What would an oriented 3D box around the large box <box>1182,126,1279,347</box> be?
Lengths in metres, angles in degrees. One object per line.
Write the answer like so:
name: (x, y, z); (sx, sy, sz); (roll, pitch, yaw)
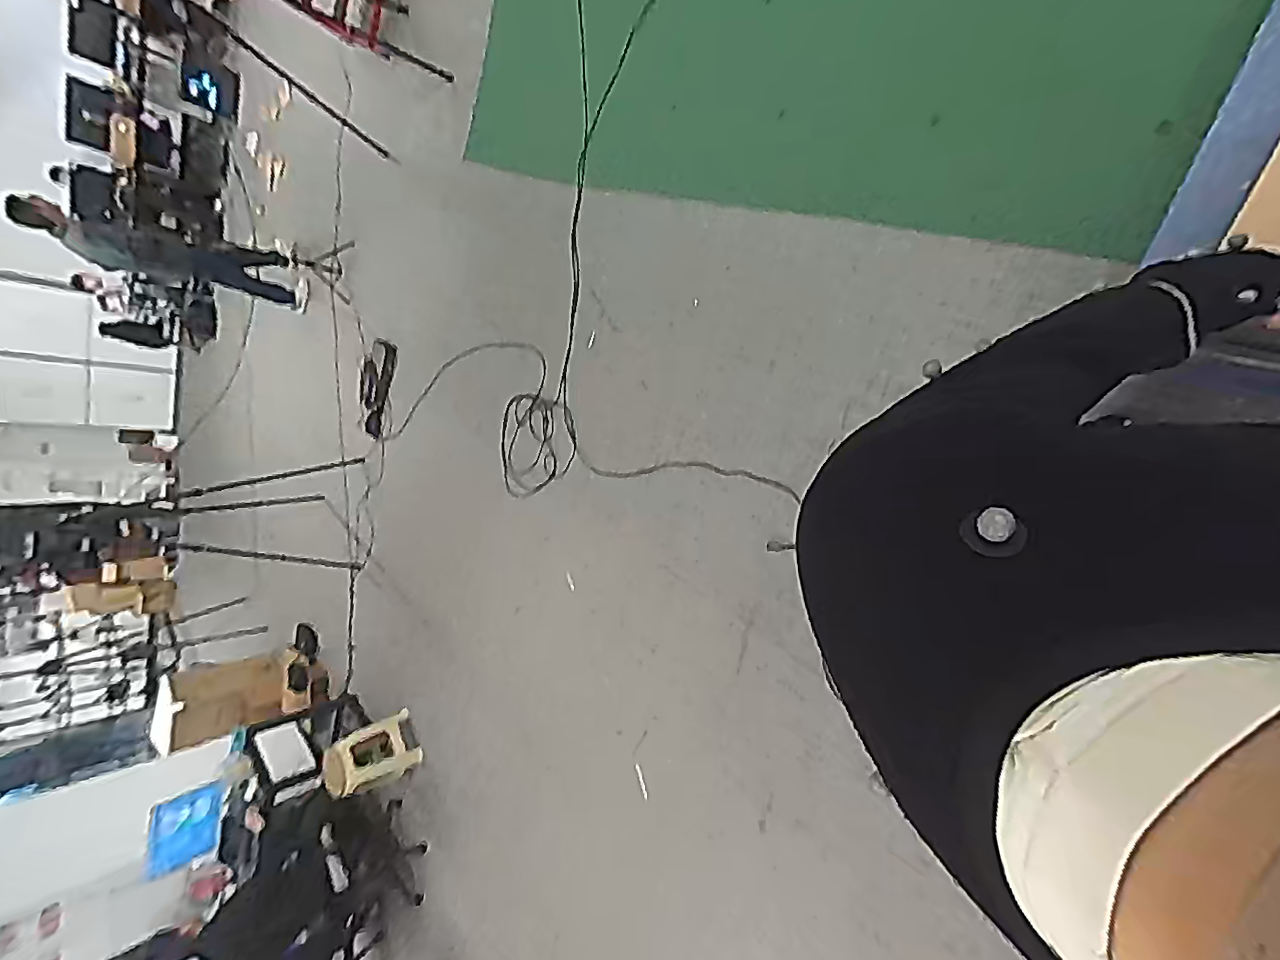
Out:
large box: (1.123, -0.419, 0.811); (0.320, 0.320, 0.408); (29, 107, 36)
